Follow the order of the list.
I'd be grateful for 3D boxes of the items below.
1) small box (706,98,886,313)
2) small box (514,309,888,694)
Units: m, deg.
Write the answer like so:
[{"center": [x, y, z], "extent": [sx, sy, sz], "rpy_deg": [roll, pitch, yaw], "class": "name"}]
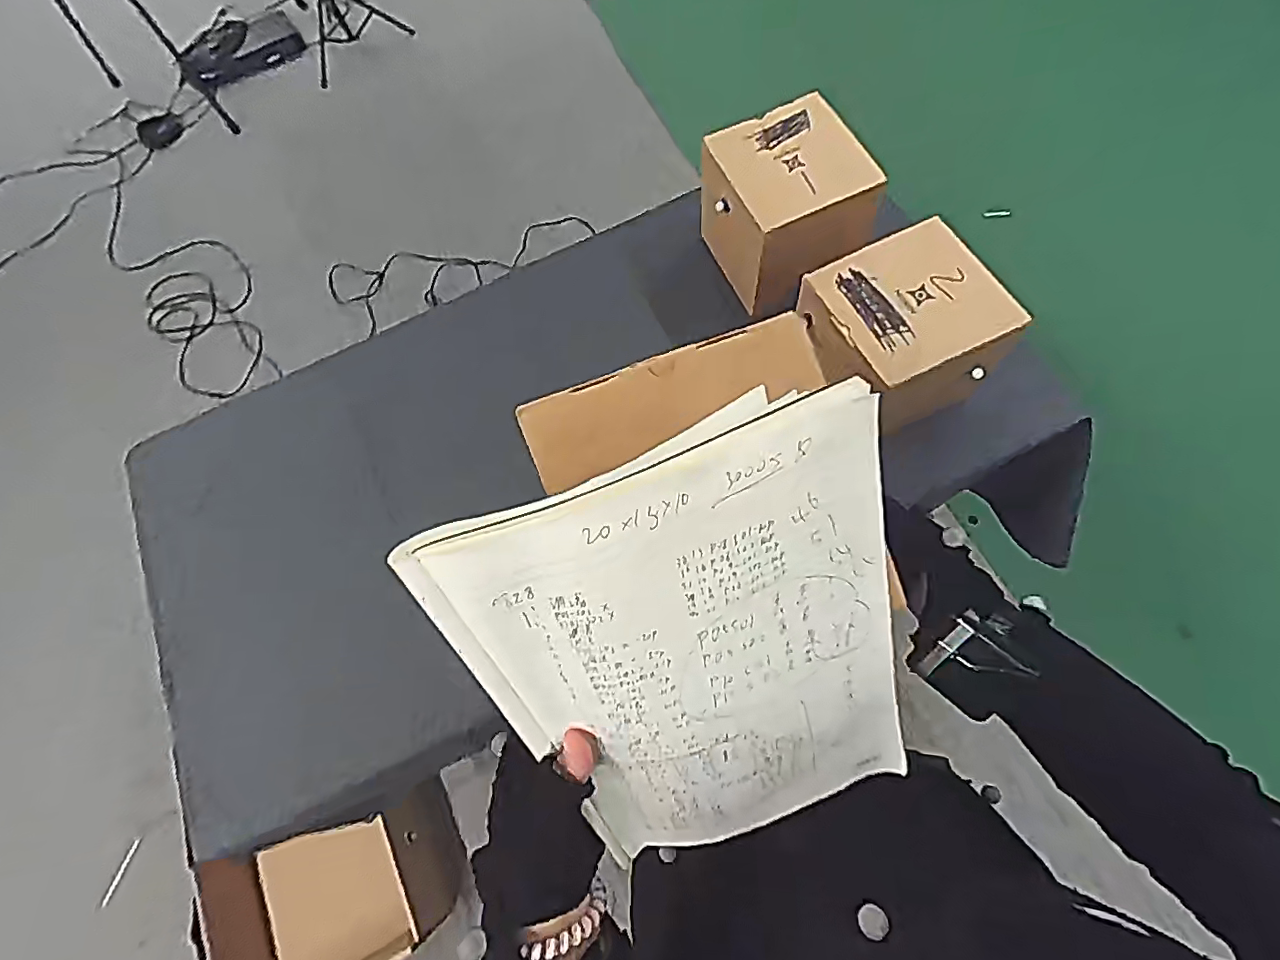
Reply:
[{"center": [0.197, -0.368, 0.747], "extent": [0.168, 0.176, 0.179], "rpy_deg": [-23, 70, -2], "class": "small box"}, {"center": [0.031, 0.013, 0.378], "extent": [0.168, 0.176, 0.179], "rpy_deg": [-20, 88, -4], "class": "small box"}]
